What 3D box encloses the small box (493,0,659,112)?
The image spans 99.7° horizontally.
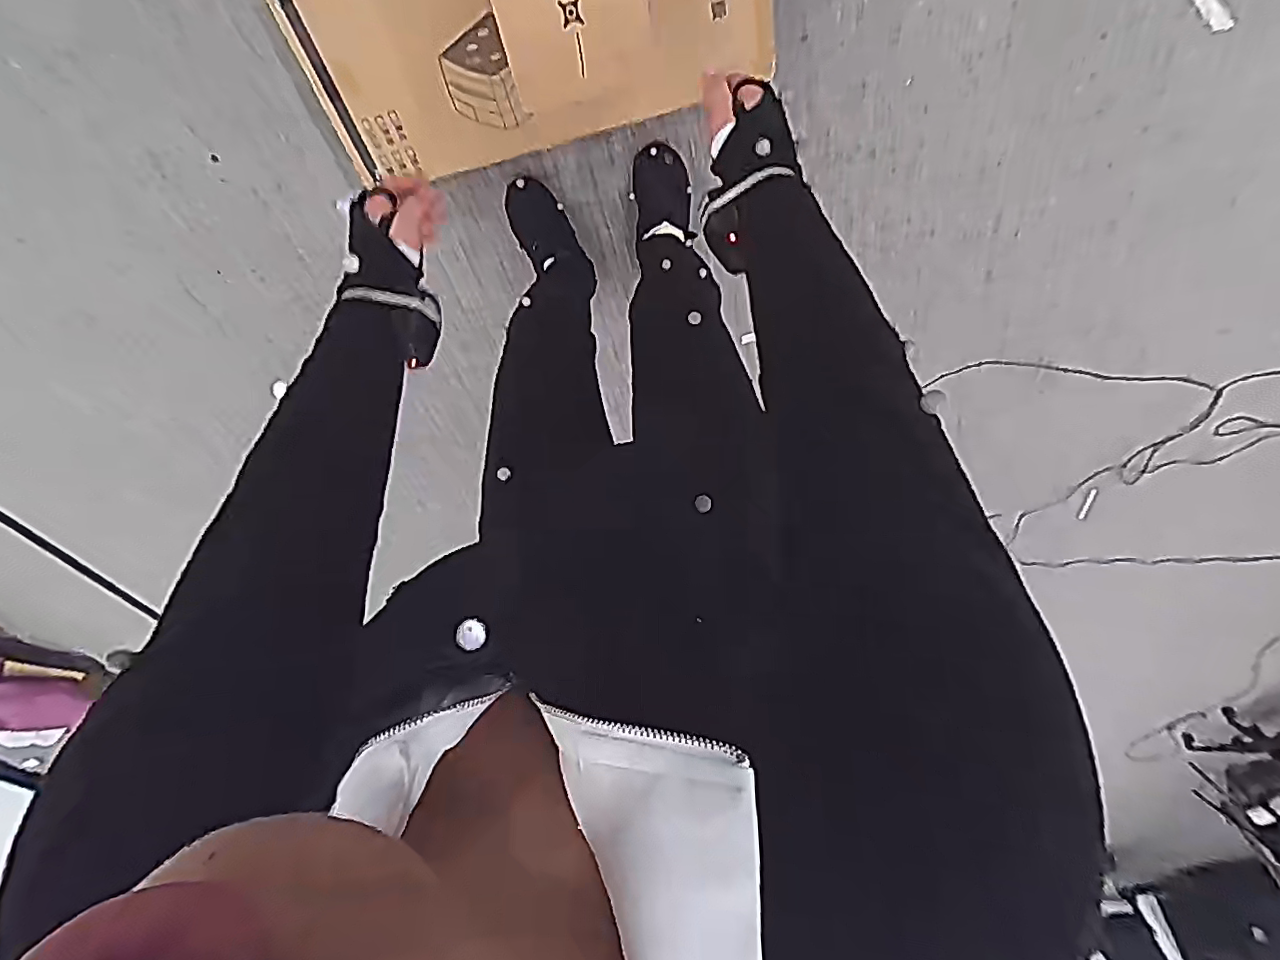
[{"bbox_3d":[-0.075,-0.560,0.630,0.168,0.176,0.179,-9,133,6],"label":"small box"}]
